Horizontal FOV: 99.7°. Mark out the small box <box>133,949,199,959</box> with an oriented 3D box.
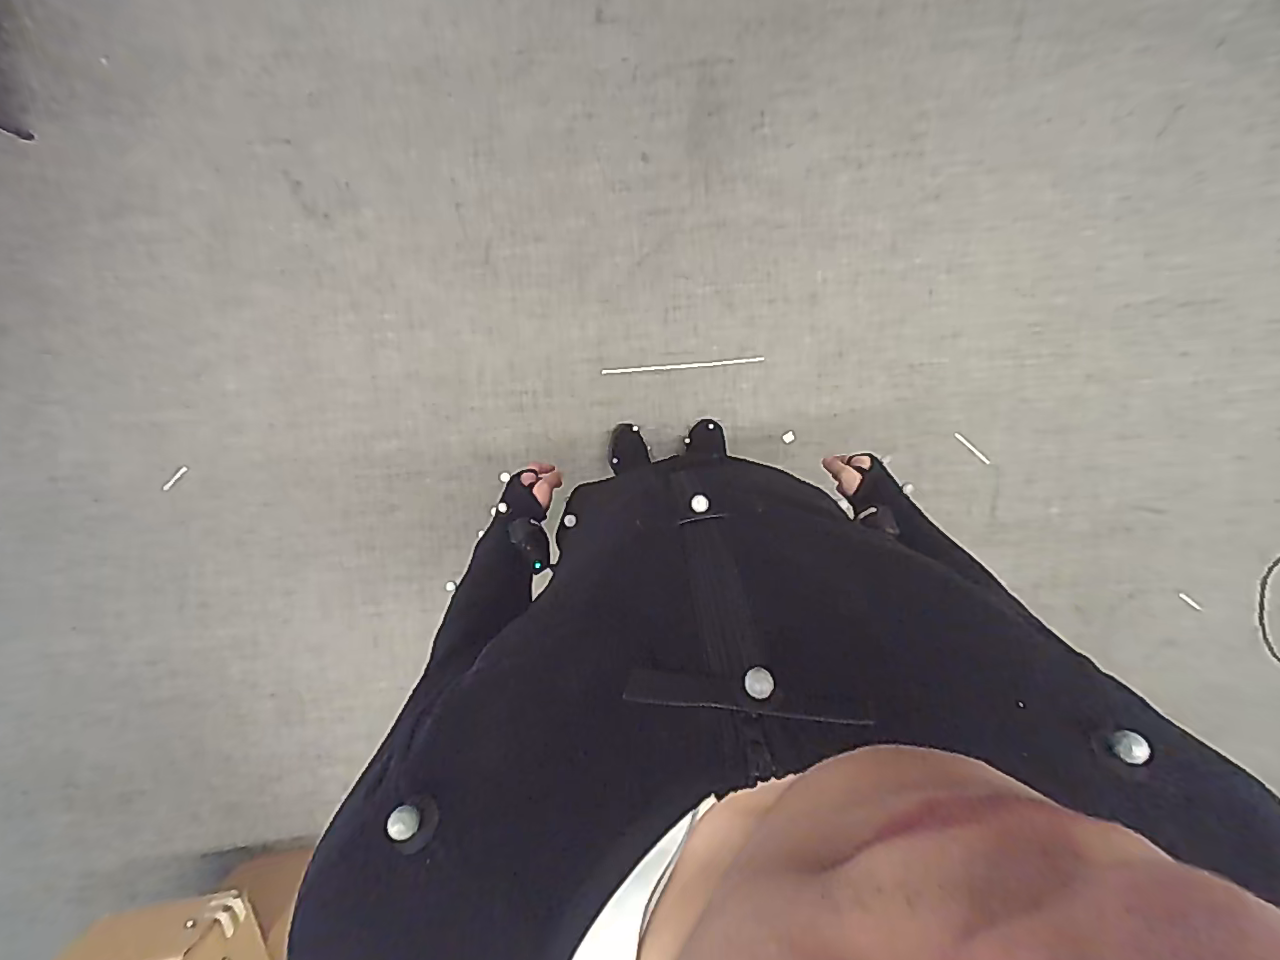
[{"bbox_3d":[-1.167,1.252,1.260,0.179,0.176,0.168,-9,98,0],"label":"small box"}]
